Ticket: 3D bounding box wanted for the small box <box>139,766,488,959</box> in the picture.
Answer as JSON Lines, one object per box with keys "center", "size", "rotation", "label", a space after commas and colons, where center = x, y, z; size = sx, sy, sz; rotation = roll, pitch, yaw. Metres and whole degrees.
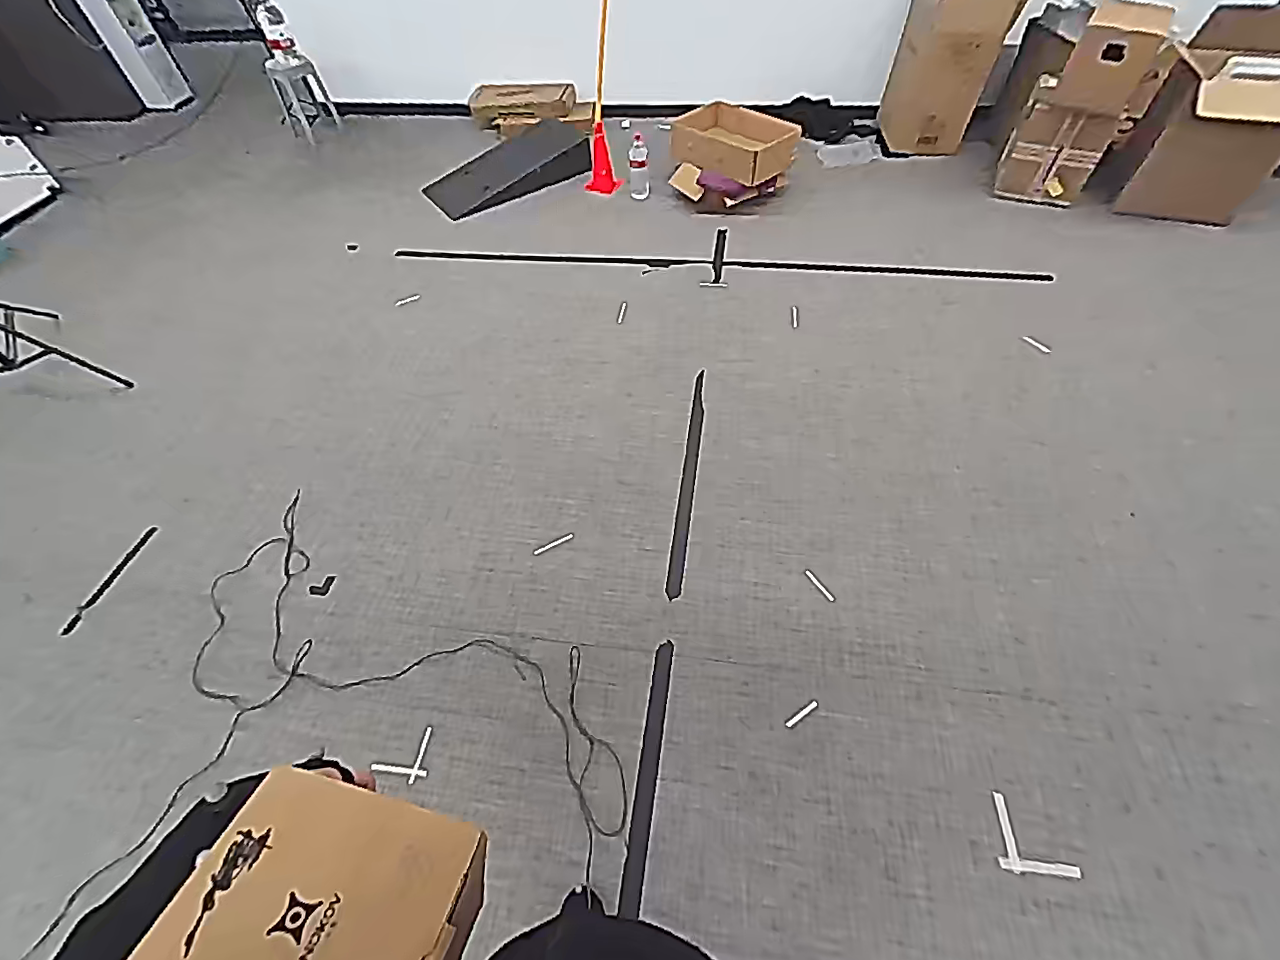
{"center": [-0.232, 0.358, 0.408], "size": [0.179, 0.176, 0.168], "rotation": [16, 36, 3], "label": "small box"}
